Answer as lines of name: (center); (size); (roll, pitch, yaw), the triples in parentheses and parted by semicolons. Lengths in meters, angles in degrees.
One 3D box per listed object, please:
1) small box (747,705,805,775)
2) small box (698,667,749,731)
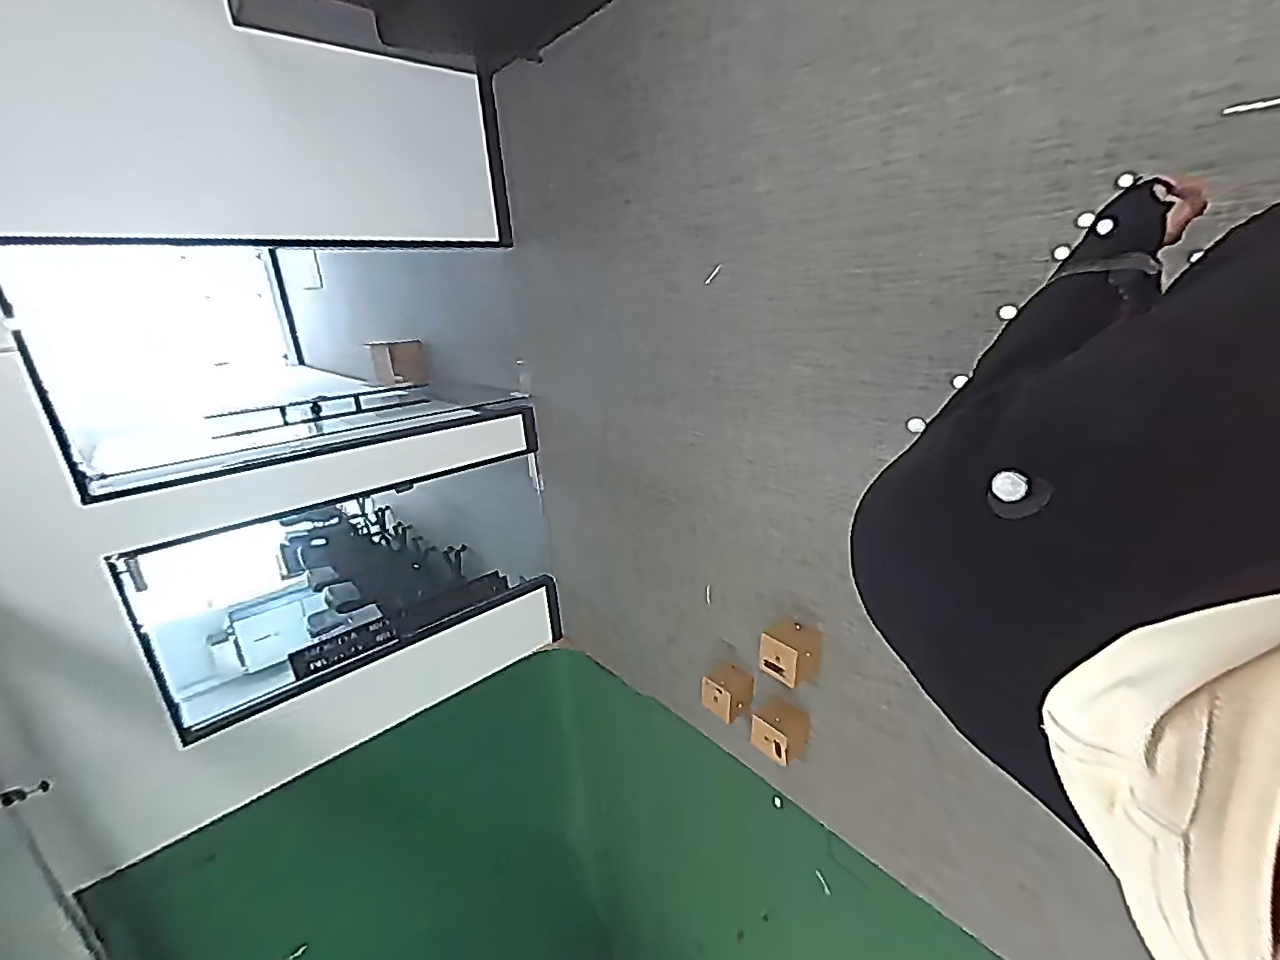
small box: (0.574, 1.086, 2.277); (0.179, 0.176, 0.168); (19, 118, 46)
small box: (0.383, 0.999, 2.477); (0.168, 0.176, 0.179); (21, 121, 45)
